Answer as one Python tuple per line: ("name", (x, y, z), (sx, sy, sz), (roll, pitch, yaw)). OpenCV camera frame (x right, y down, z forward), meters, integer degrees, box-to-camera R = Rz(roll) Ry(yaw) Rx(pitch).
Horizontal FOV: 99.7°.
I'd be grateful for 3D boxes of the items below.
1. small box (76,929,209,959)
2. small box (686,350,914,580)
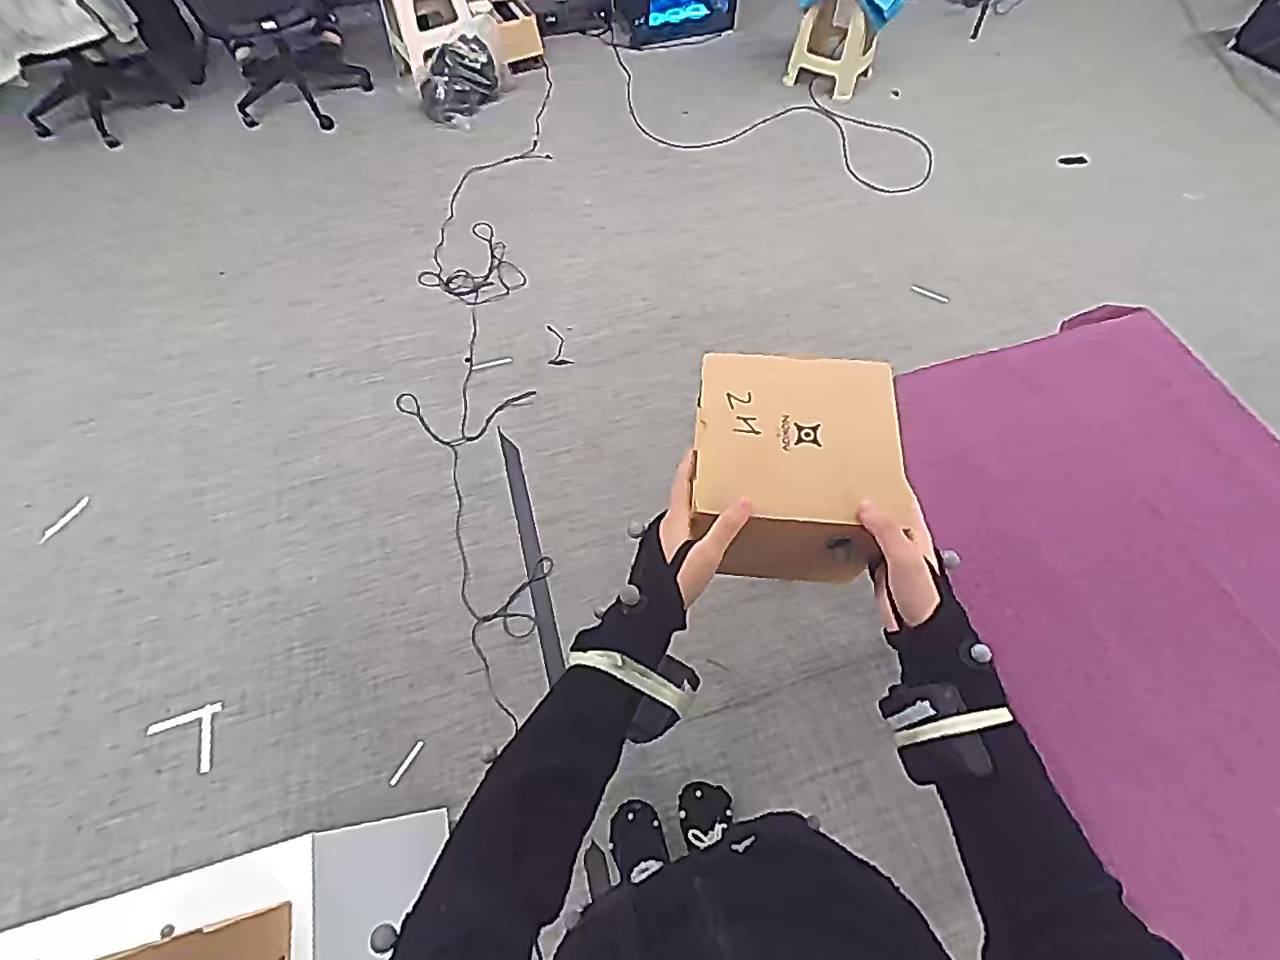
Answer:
("small box", (-0.505, 0.504, 0.434), (0.179, 0.176, 0.168), (-13, 63, -6))
("small box", (0.140, -0.006, 0.535), (0.179, 0.176, 0.168), (4, 64, 5))
